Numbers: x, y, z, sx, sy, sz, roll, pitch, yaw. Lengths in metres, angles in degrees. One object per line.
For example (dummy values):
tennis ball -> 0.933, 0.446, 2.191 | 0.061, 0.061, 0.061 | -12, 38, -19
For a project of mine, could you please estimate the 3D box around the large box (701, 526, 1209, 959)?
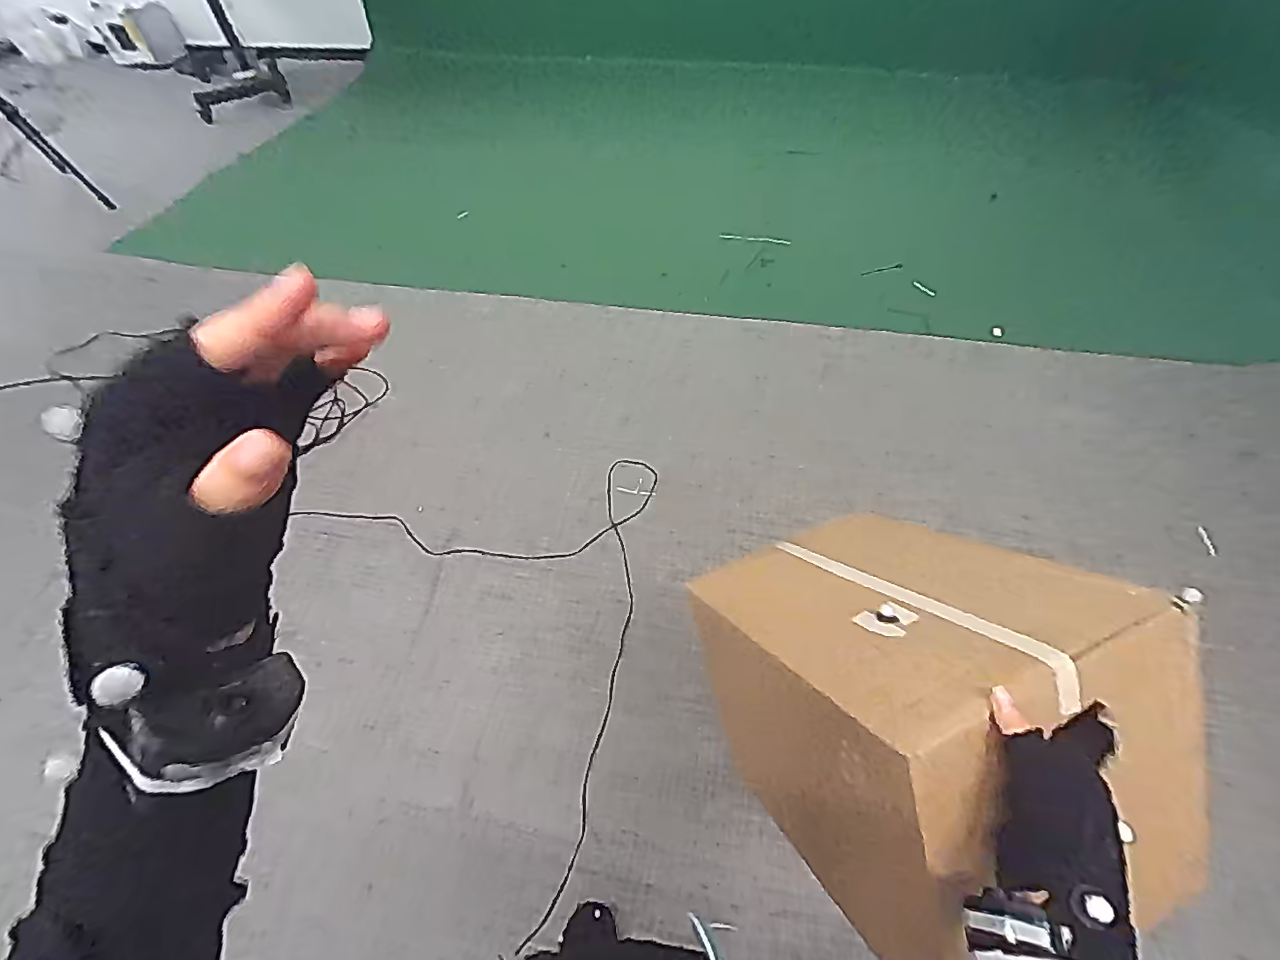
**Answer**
large box -> 0.317, 0.279, 0.638 | 0.320, 0.320, 0.408 | -18, 12, -15
